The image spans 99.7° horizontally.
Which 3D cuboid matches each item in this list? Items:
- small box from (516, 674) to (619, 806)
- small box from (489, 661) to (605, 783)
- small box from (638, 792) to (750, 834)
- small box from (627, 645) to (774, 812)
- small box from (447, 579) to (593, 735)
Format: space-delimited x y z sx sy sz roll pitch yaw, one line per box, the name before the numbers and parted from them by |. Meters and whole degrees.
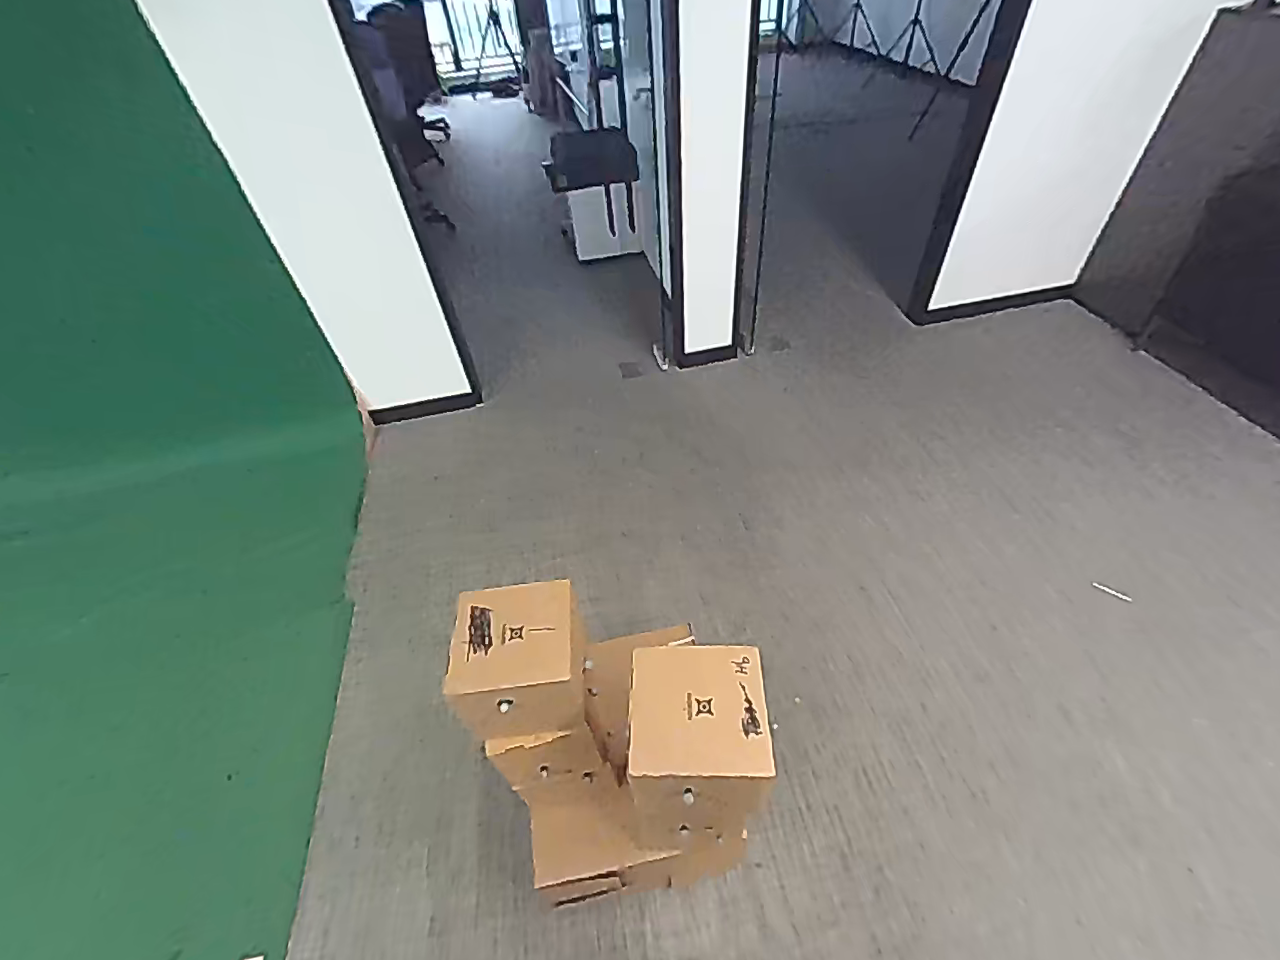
small box | -0.141 0.513 1.064 0.179 0.176 0.168 -12 44 -5
small box | -0.159 0.399 0.948 0.168 0.176 0.179 -11 46 -4
small box | 0.081 0.447 0.872 0.168 0.176 0.179 -5 46 1
small box | 0.082 0.342 0.743 0.179 0.176 0.168 -2 46 5
small box | -0.174 0.277 0.838 0.179 0.176 0.168 -7 45 0
